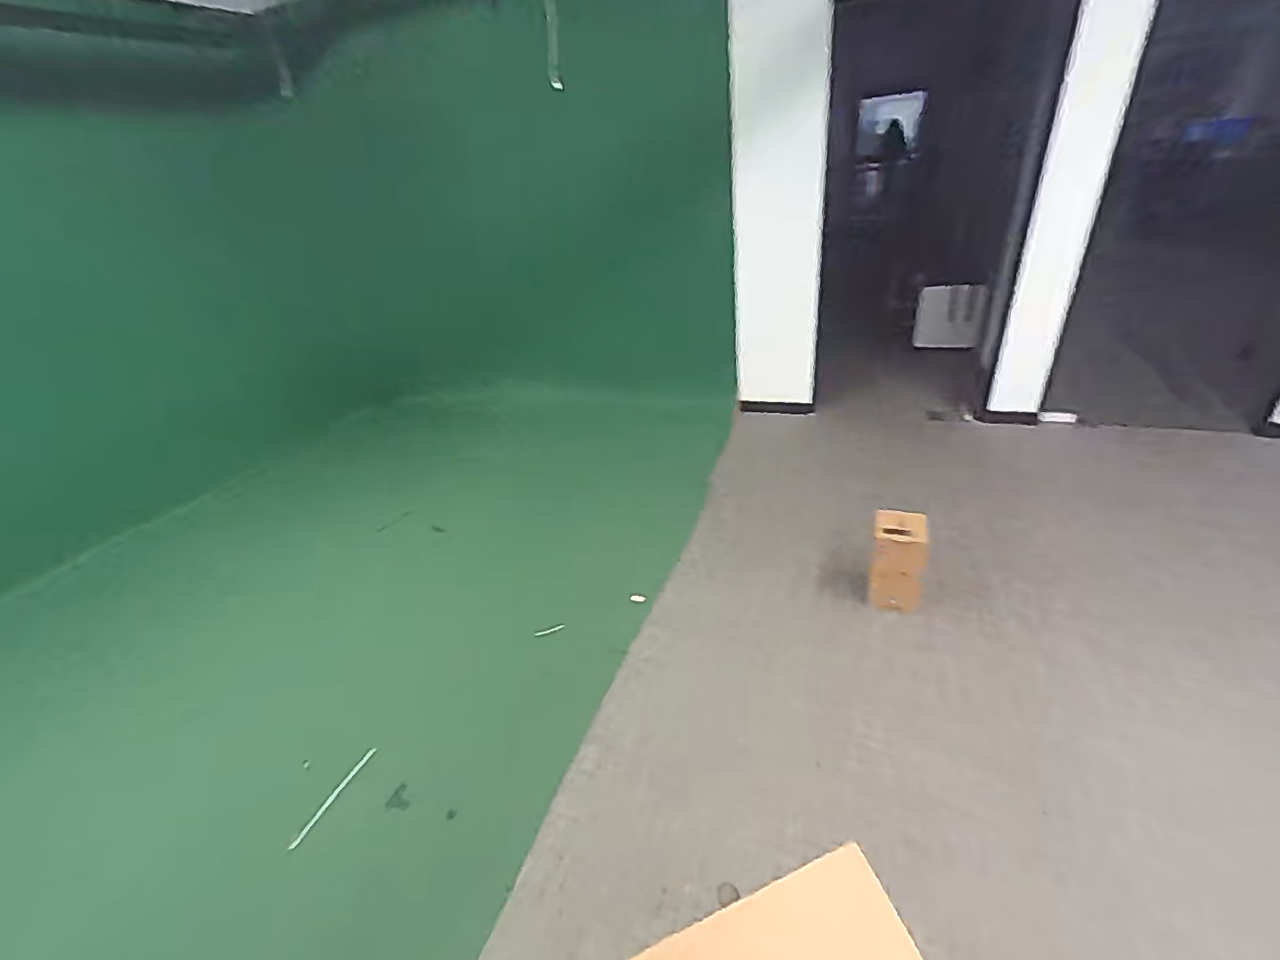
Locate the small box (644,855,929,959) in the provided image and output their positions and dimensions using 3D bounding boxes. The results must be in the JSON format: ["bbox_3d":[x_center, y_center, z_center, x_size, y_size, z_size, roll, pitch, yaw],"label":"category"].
[{"bbox_3d":[0.077,0.349,0.291,0.168,0.176,0.179,-8,47,-23],"label":"small box"}]

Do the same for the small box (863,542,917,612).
[{"bbox_3d":[0.935,0.362,2.029,0.168,0.176,0.179,6,34,22],"label":"small box"}]
